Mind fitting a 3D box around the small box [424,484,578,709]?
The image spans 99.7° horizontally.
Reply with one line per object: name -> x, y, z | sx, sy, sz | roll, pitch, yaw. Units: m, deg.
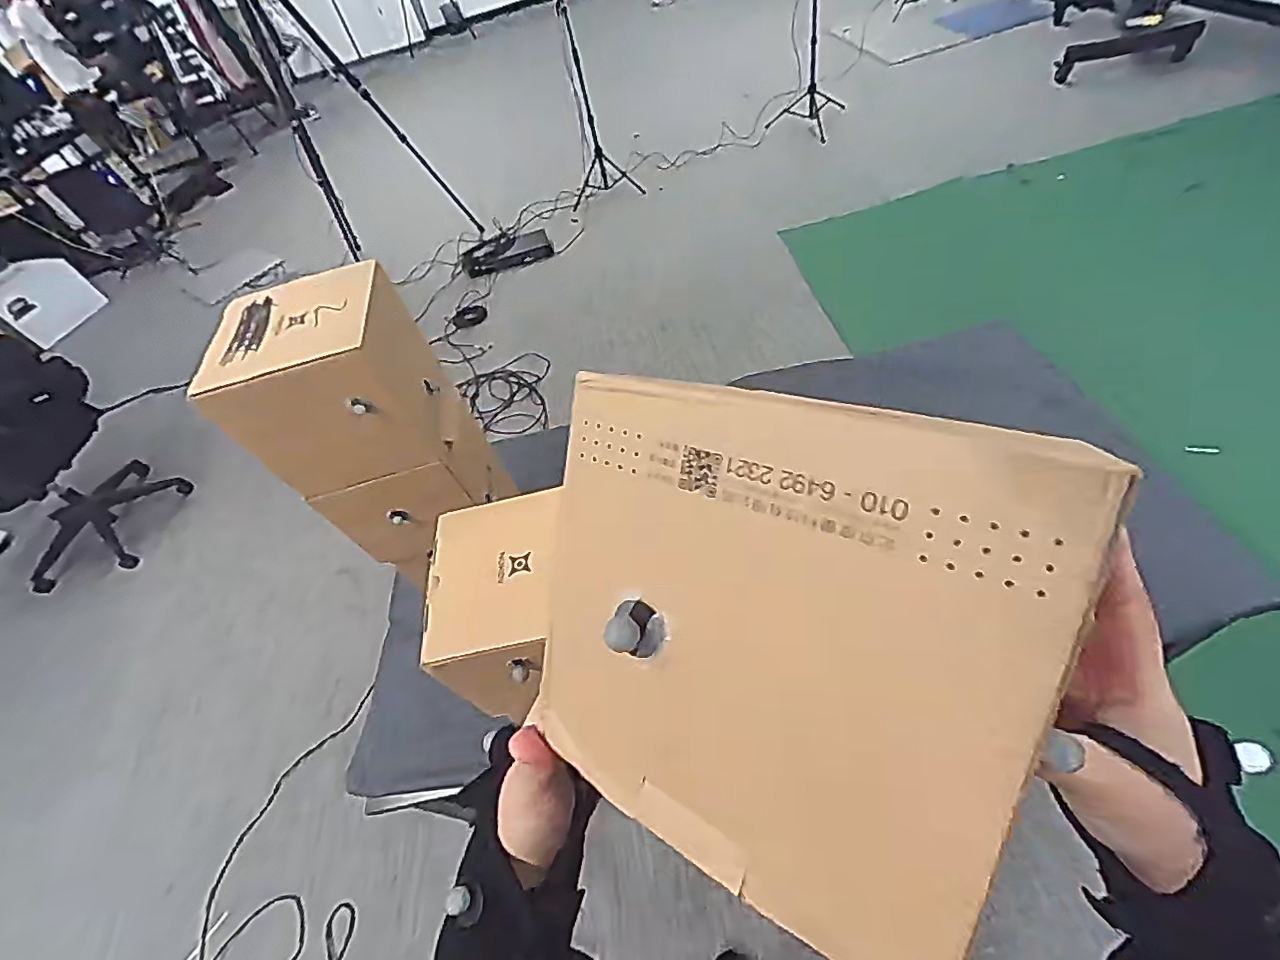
small box -> -0.102, 0.130, 0.583 | 0.179, 0.176, 0.168 | -14, 51, 5

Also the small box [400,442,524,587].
small box -> -0.282, 0.072, 0.888 | 0.168, 0.176, 0.179 | -17, 51, 1

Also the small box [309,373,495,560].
small box -> -0.311, -0.014, 0.750 | 0.179, 0.176, 0.168 | -17, 52, 2
